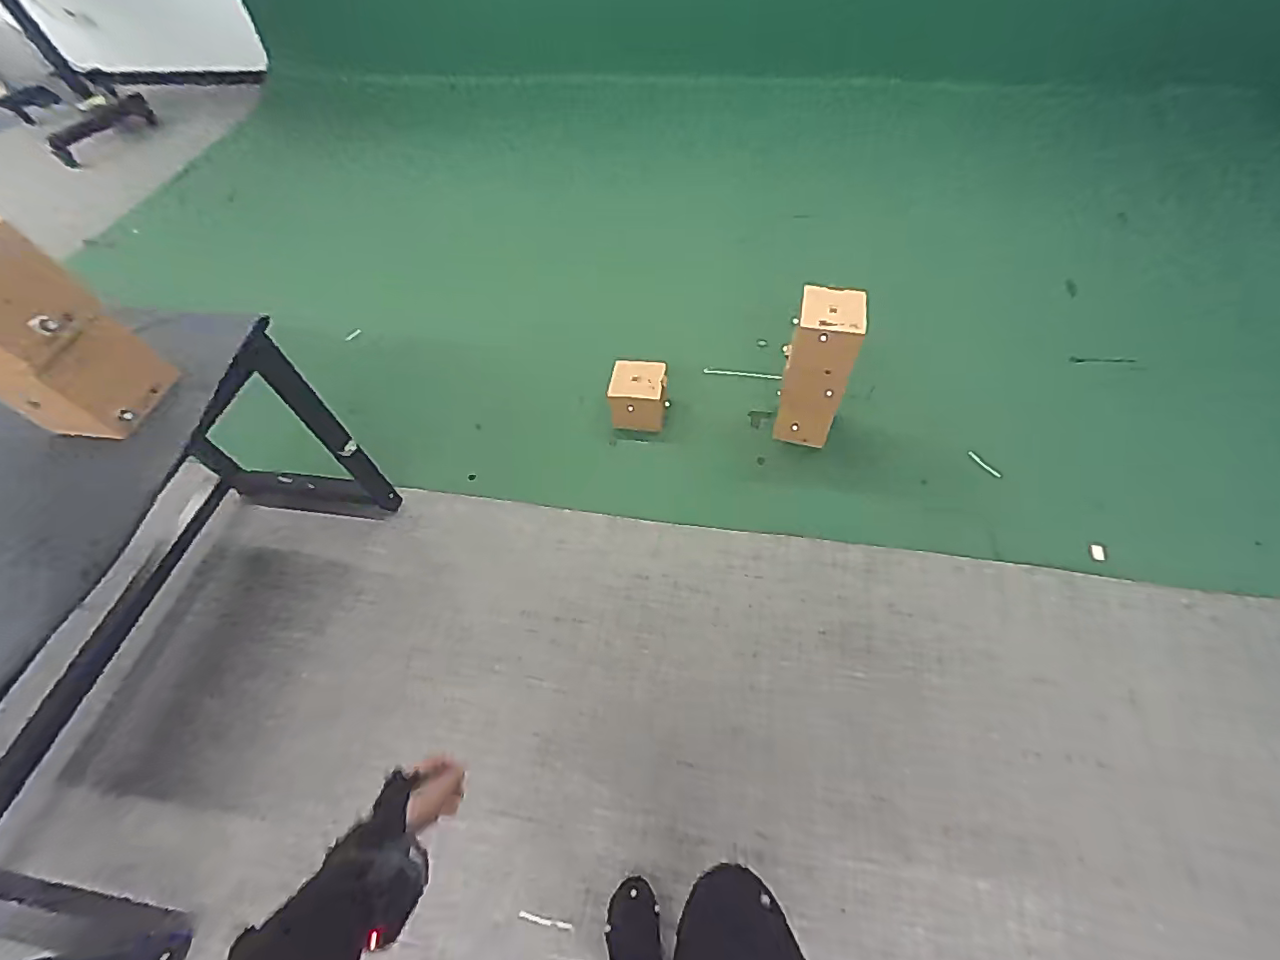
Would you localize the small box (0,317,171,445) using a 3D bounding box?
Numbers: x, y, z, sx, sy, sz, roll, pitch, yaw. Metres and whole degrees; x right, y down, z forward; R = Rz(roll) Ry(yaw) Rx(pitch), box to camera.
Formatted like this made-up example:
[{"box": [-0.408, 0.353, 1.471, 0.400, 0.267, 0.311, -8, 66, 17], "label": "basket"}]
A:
[{"box": [-1.010, -0.176, 0.962, 0.179, 0.176, 0.168, 4, 57, 10], "label": "small box"}]

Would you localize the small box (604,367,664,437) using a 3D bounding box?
[{"box": [-0.016, -0.264, 1.844, 0.179, 0.176, 0.168, 6, 57, 7], "label": "small box"}]

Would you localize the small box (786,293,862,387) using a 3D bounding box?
[{"box": [0.507, -0.387, 1.503, 0.168, 0.176, 0.179, 10, 56, 9], "label": "small box"}]

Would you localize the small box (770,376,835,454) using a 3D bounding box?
[{"box": [0.531, -0.211, 1.780, 0.168, 0.176, 0.179, 13, 57, 12], "label": "small box"}]

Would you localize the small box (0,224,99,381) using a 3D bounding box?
[{"box": [-1.019, -0.266, 0.827, 0.179, 0.176, 0.168, 2, 58, 7], "label": "small box"}]
